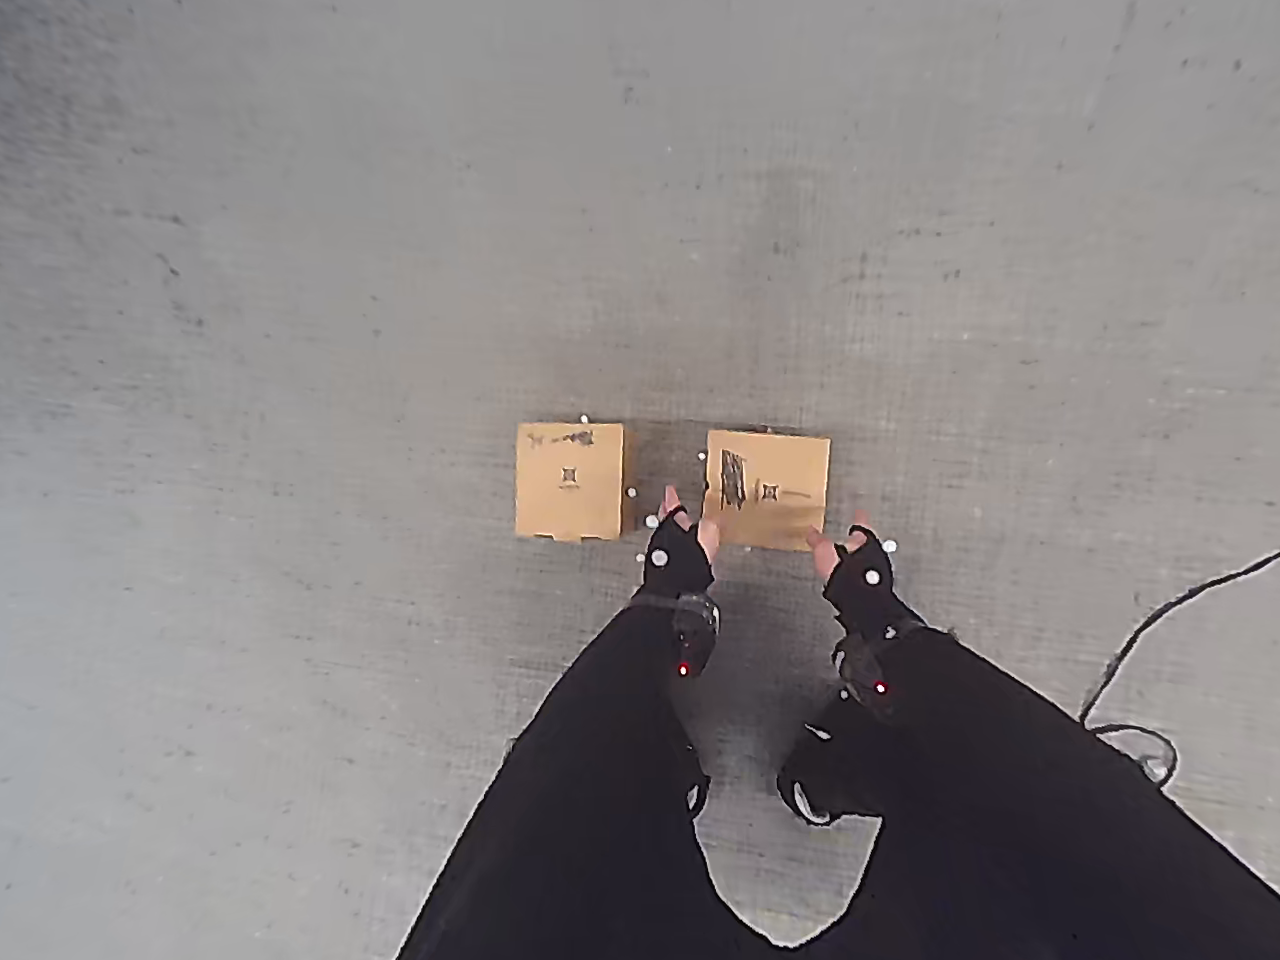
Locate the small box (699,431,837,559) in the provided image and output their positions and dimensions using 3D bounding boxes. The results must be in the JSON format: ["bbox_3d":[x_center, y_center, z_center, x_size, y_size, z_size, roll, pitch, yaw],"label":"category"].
[{"bbox_3d":[0.197,0.021,0.863,0.179,0.176,0.168,9,92,10],"label":"small box"}]
